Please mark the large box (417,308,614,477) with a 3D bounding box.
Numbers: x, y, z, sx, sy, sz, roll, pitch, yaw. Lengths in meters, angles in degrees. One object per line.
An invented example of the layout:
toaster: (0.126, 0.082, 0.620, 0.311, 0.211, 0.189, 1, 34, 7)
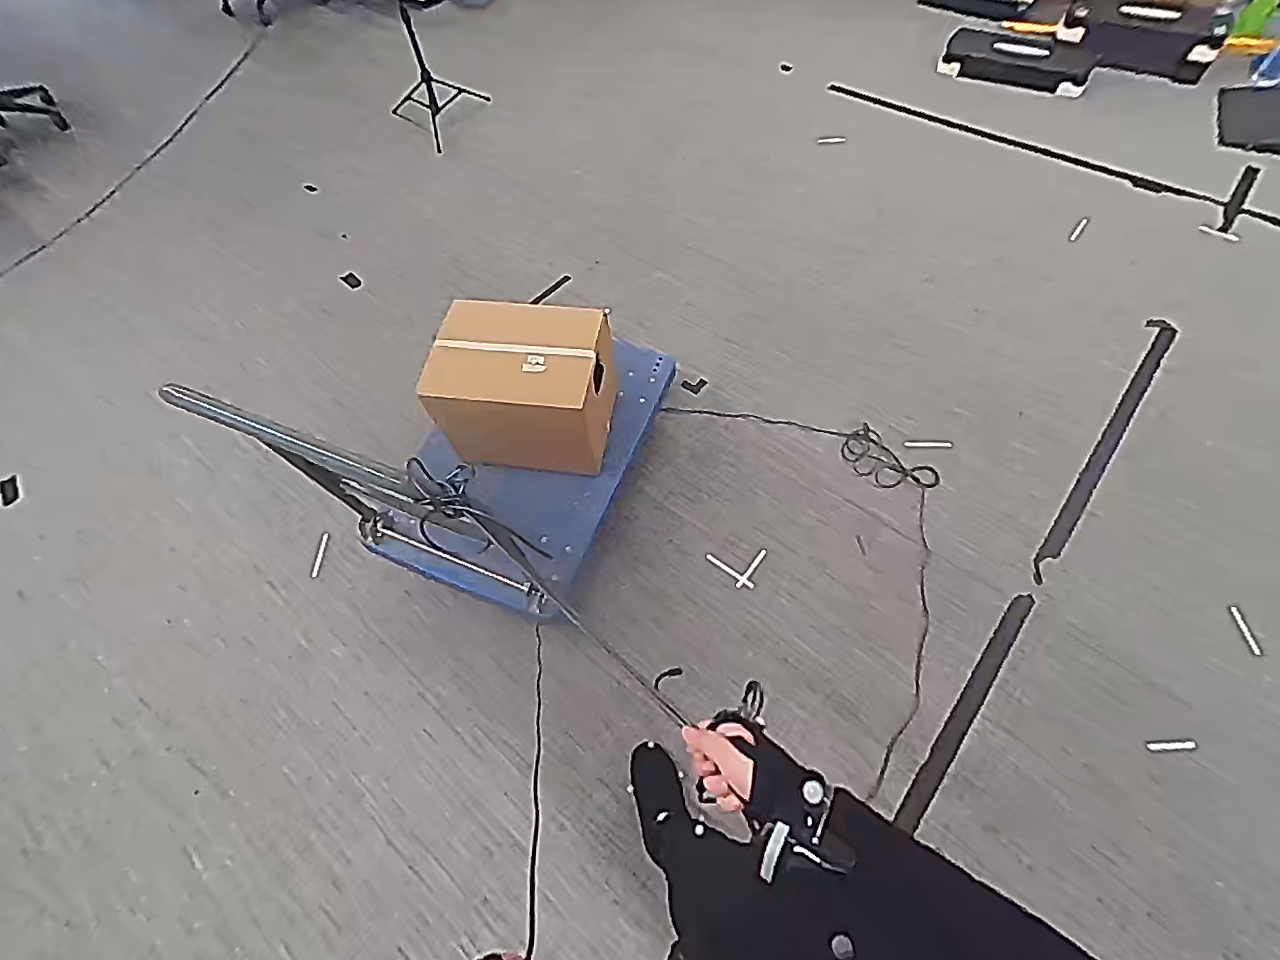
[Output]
large box: (-0.299, -0.224, 1.434, 0.408, 0.320, 0.320, 6, 62, 6)
